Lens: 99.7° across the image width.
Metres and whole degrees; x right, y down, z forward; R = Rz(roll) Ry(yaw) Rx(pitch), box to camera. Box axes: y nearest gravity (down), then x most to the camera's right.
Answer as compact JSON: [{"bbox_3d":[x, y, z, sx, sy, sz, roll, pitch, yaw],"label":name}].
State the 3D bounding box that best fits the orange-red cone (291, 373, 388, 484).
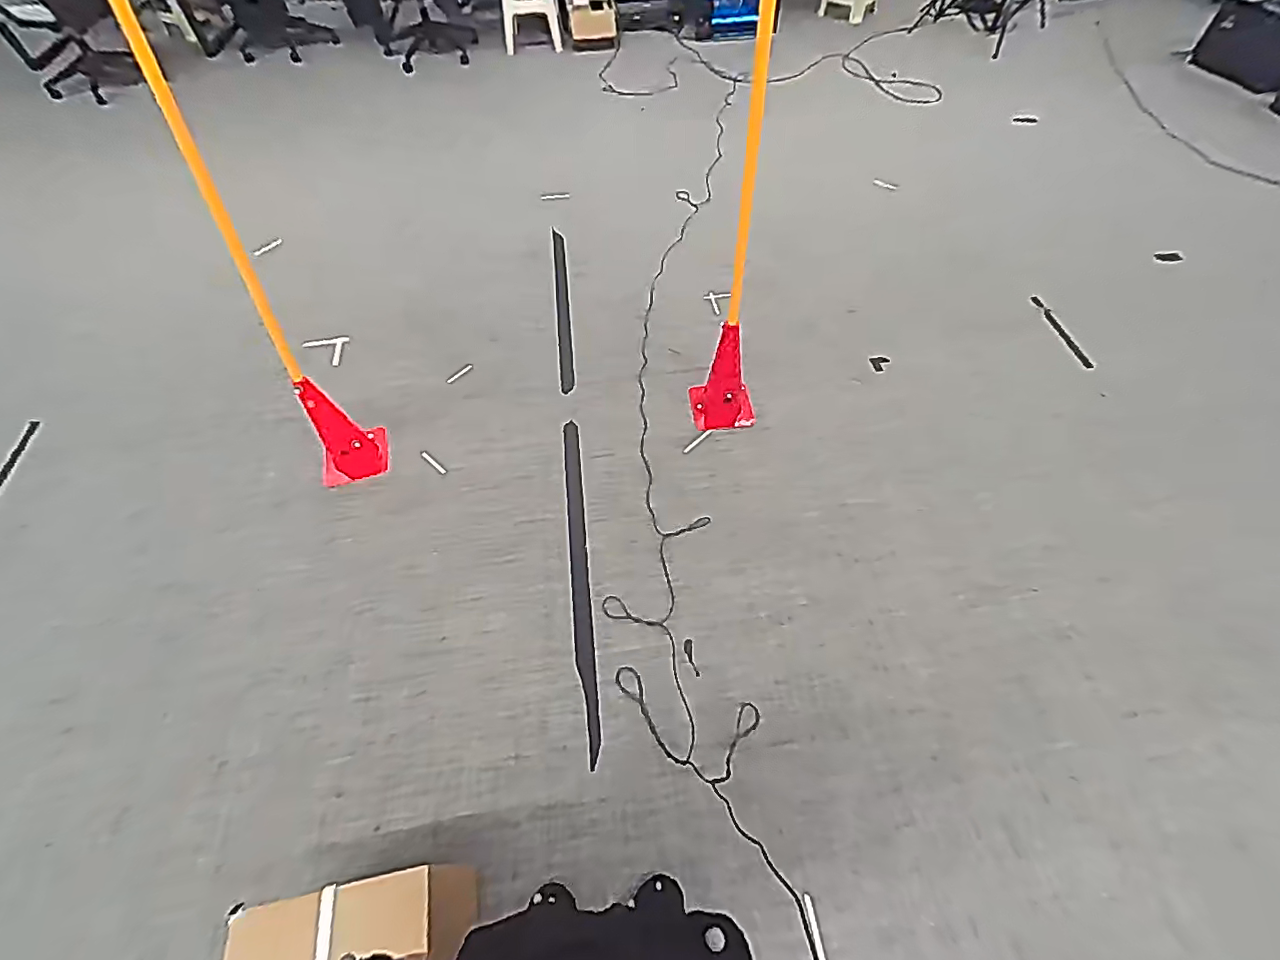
[{"bbox_3d":[-0.923,-0.176,1.605,0.199,0.360,0.198,-15,56,-7],"label":"orange-red cone"}]
